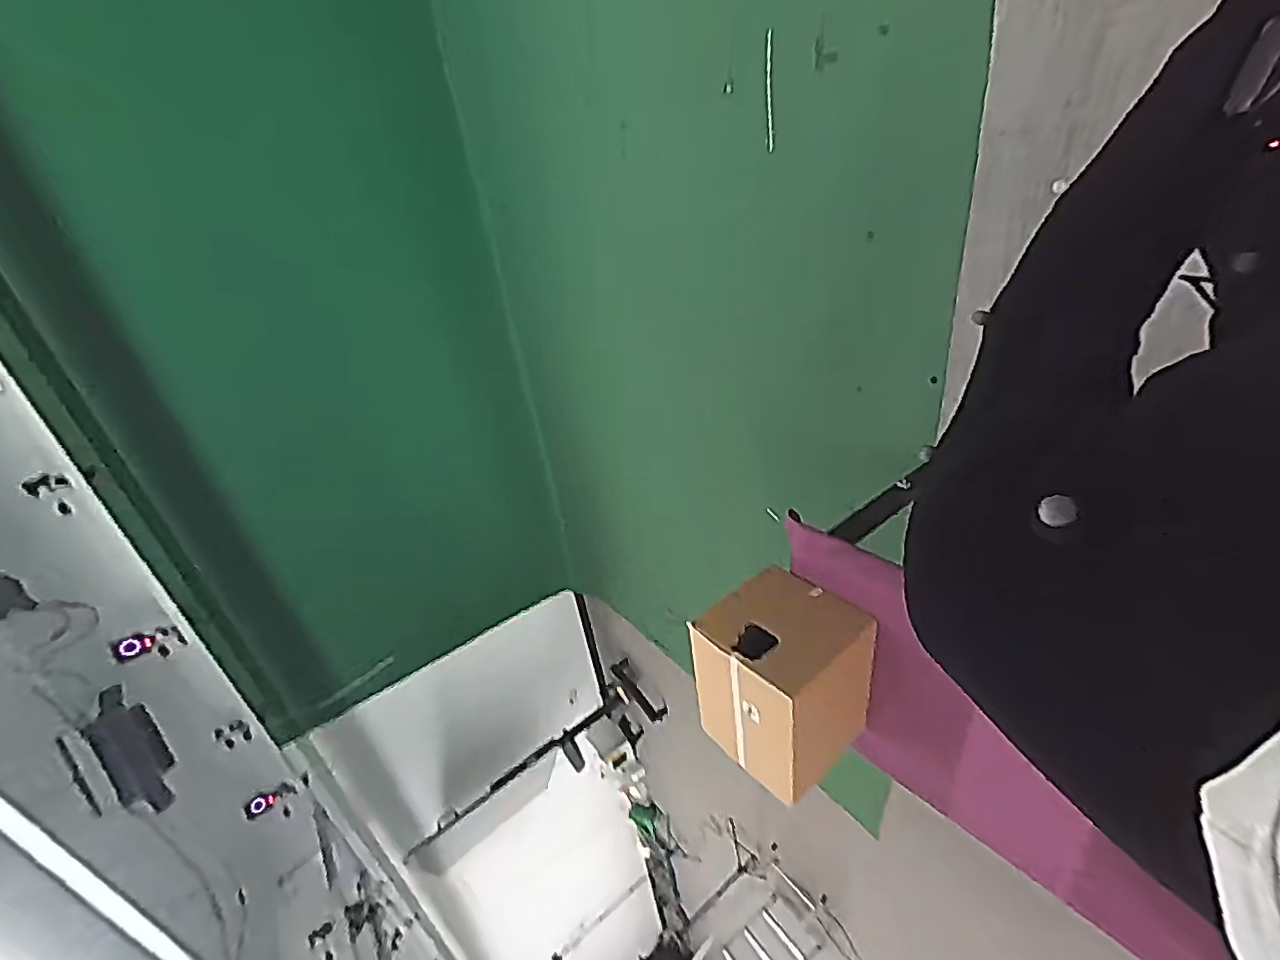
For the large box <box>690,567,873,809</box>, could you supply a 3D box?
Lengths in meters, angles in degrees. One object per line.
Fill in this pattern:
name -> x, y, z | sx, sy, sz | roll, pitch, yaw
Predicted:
large box -> 0.358, 0.504, 1.366 | 0.320, 0.320, 0.408 | 25, 133, 46
